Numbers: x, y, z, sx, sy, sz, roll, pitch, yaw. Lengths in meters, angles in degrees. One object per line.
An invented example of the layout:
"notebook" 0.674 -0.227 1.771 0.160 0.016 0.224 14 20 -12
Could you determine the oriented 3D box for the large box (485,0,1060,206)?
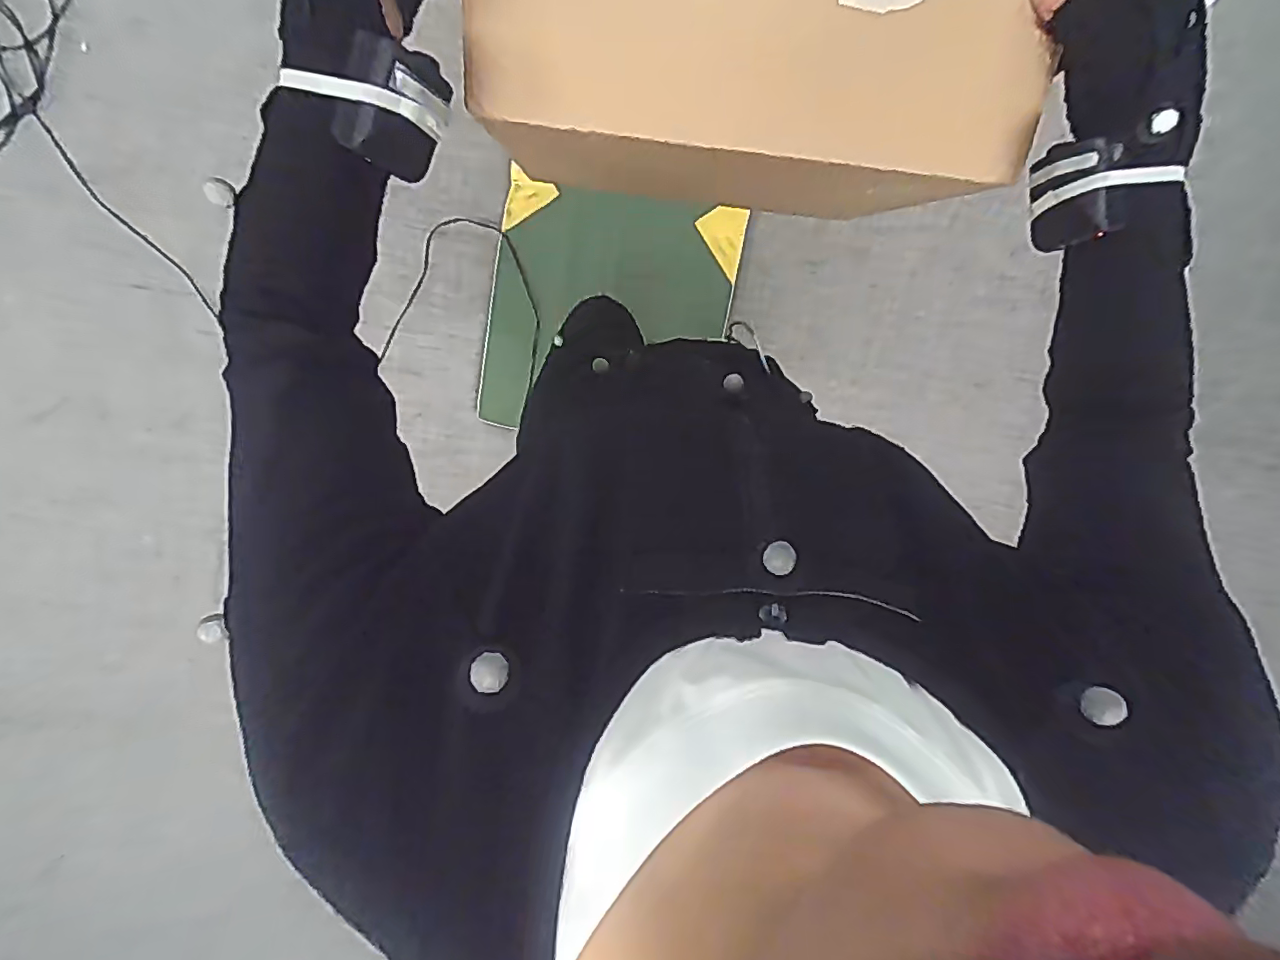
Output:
"large box" 0.089 -0.447 0.480 0.408 0.320 0.320 3 112 -6
